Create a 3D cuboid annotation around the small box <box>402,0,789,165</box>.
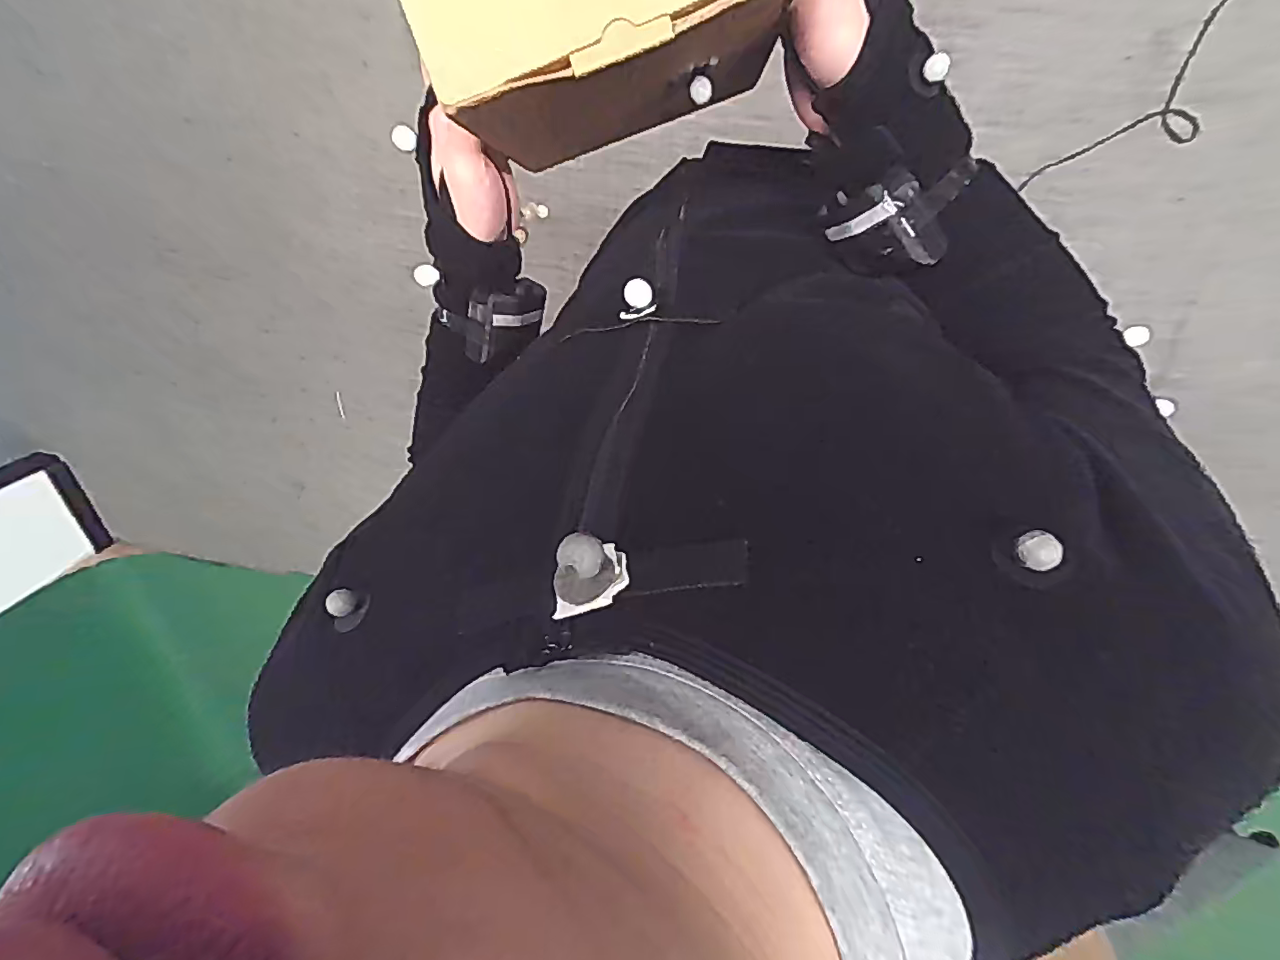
[{"bbox_3d":[-0.029,-0.285,0.277,0.168,0.176,0.179,-16,109,9],"label":"small box"}]
